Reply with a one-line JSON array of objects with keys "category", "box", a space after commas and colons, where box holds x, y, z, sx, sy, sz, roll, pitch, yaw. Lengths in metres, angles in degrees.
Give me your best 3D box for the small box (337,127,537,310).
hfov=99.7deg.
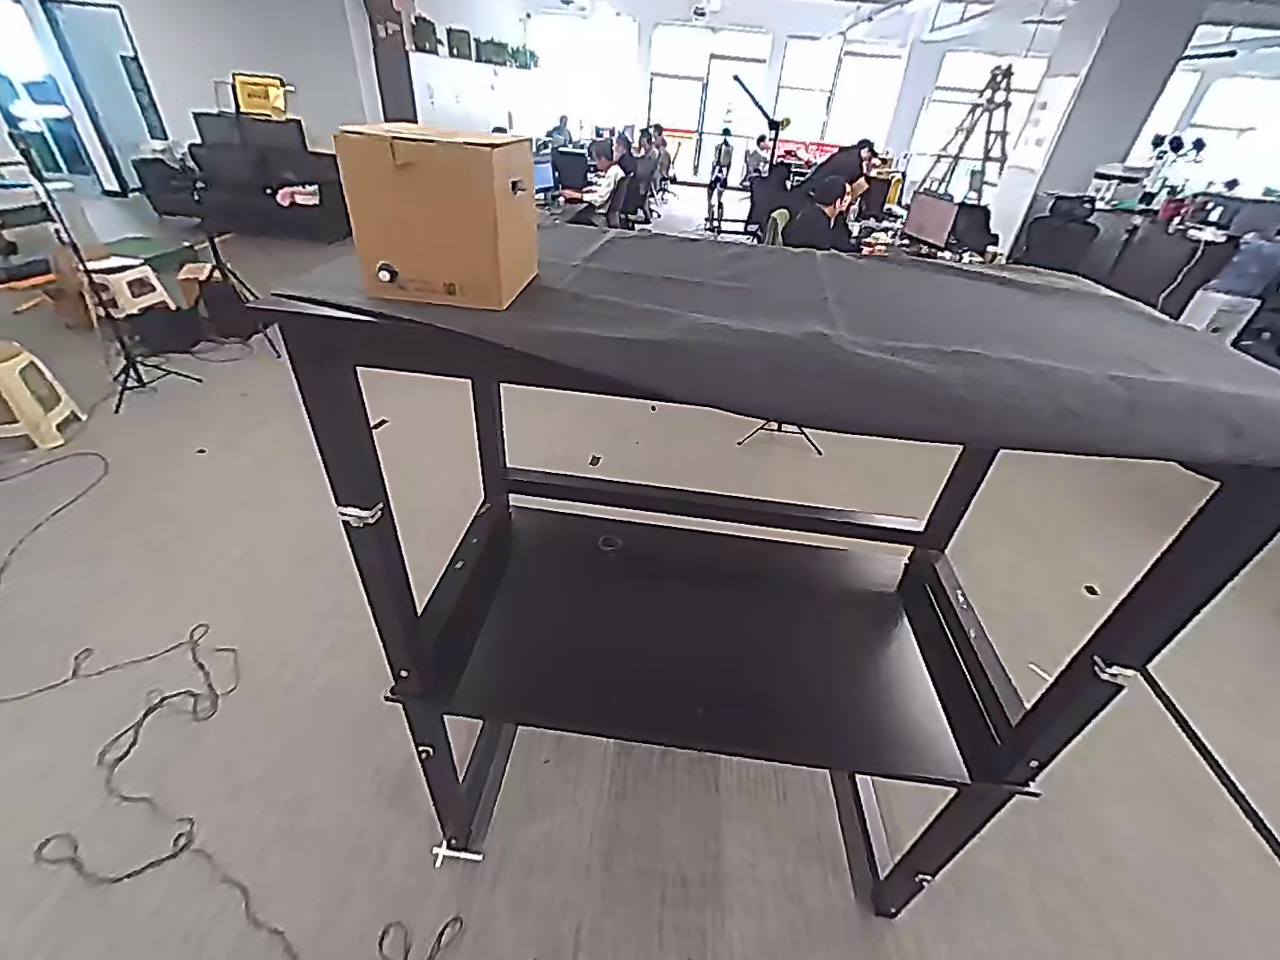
[{"category": "small box", "box": [-0.222, -0.316, 0.651, 0.168, 0.176, 0.179, 7, 35, 1]}]
